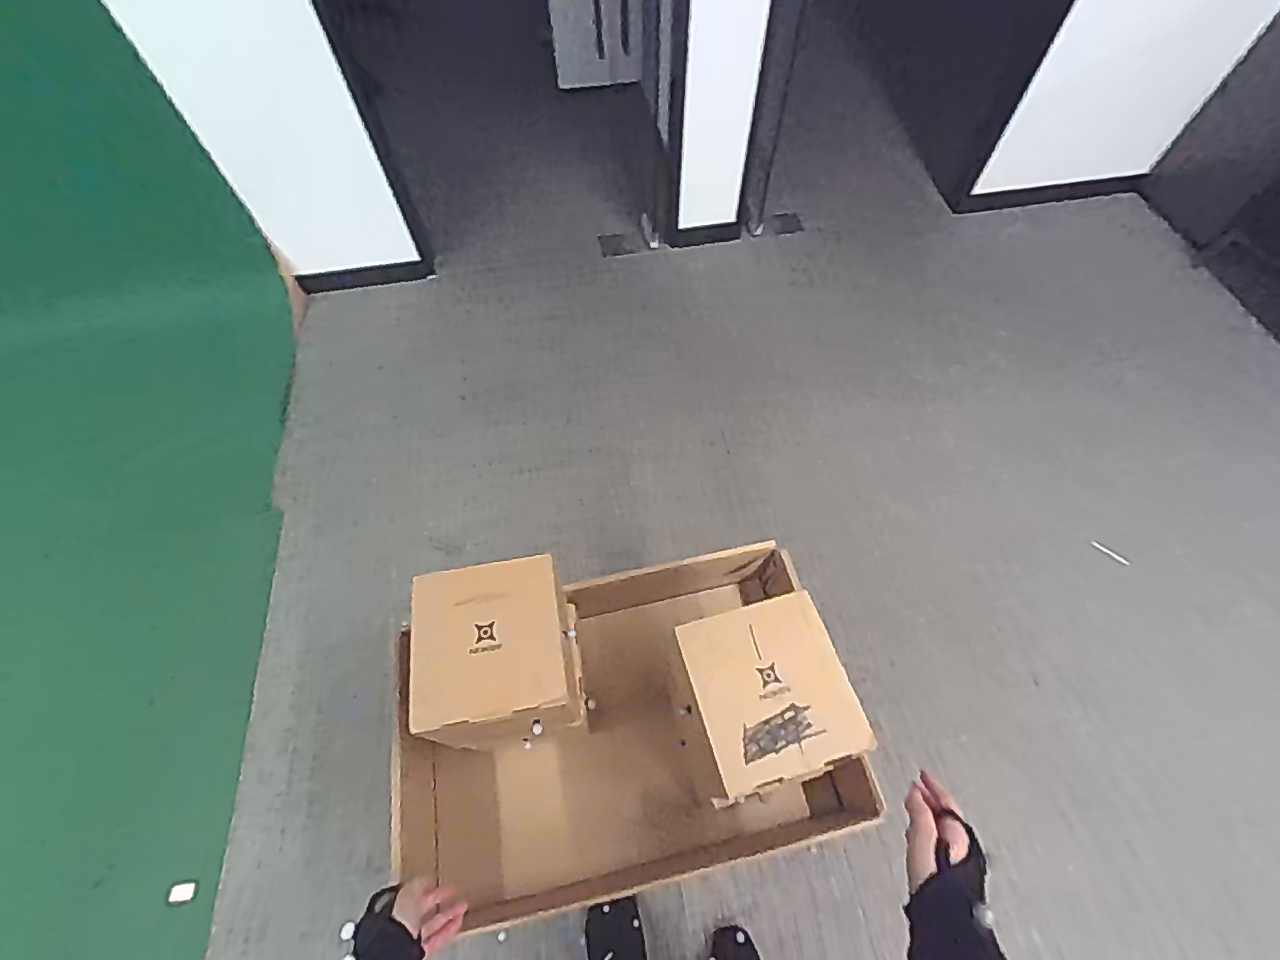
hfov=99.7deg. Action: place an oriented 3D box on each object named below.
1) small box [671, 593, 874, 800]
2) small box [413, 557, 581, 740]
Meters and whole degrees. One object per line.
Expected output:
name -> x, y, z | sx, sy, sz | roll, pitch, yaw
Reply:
small box -> 0.140, 0.261, 0.647 | 0.168, 0.176, 0.179 | -14, 60, -8
small box -> -0.169, 0.217, 0.675 | 0.168, 0.176, 0.179 | -8, 60, -6
